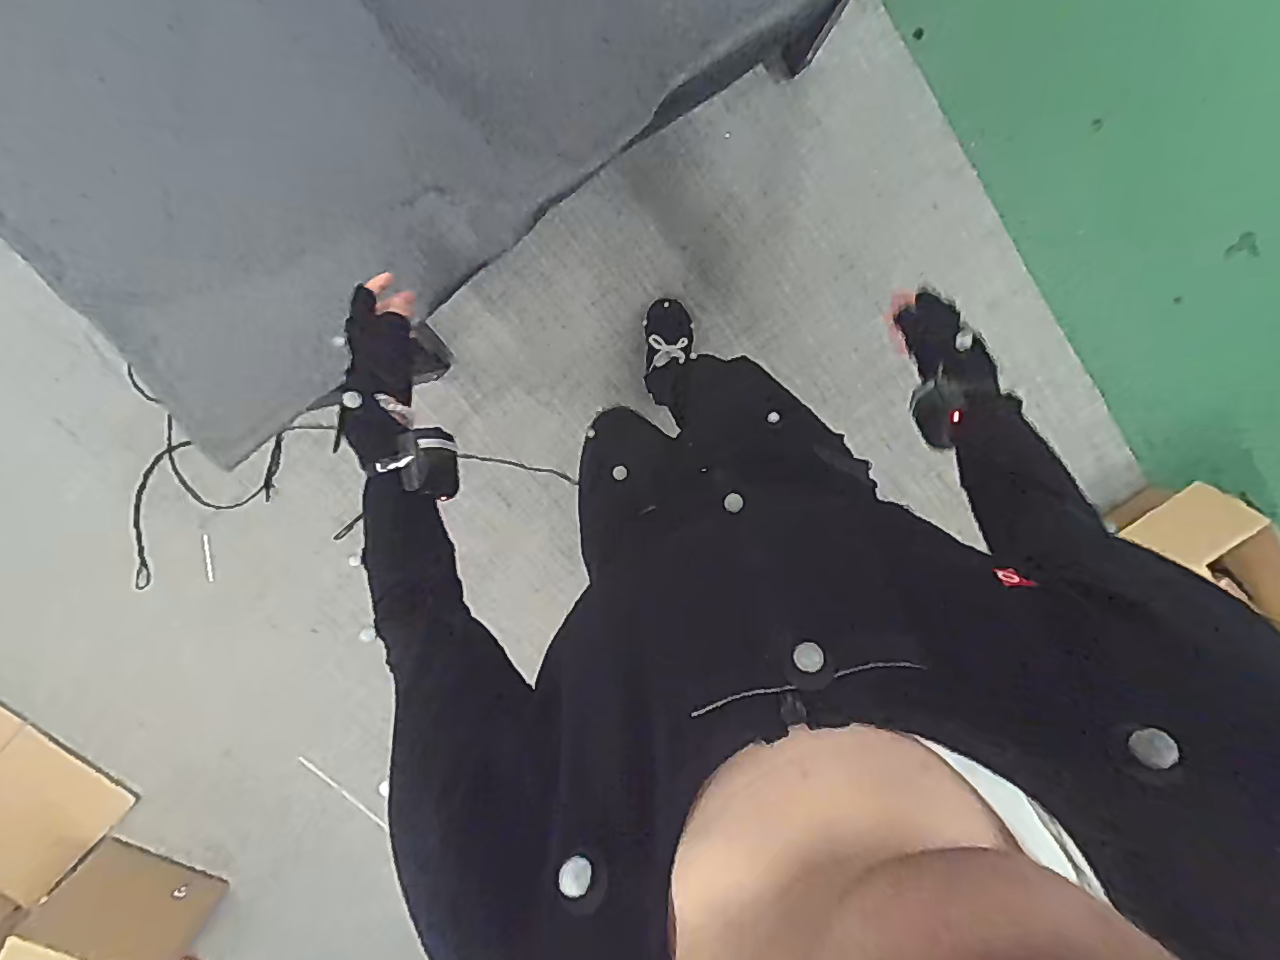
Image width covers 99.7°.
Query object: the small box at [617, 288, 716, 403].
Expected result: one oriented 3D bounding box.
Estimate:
[{"bbox_3d":[0.067,-0.325,1.331,0.168,0.176,0.179,40,79,17],"label":"small box"}]
